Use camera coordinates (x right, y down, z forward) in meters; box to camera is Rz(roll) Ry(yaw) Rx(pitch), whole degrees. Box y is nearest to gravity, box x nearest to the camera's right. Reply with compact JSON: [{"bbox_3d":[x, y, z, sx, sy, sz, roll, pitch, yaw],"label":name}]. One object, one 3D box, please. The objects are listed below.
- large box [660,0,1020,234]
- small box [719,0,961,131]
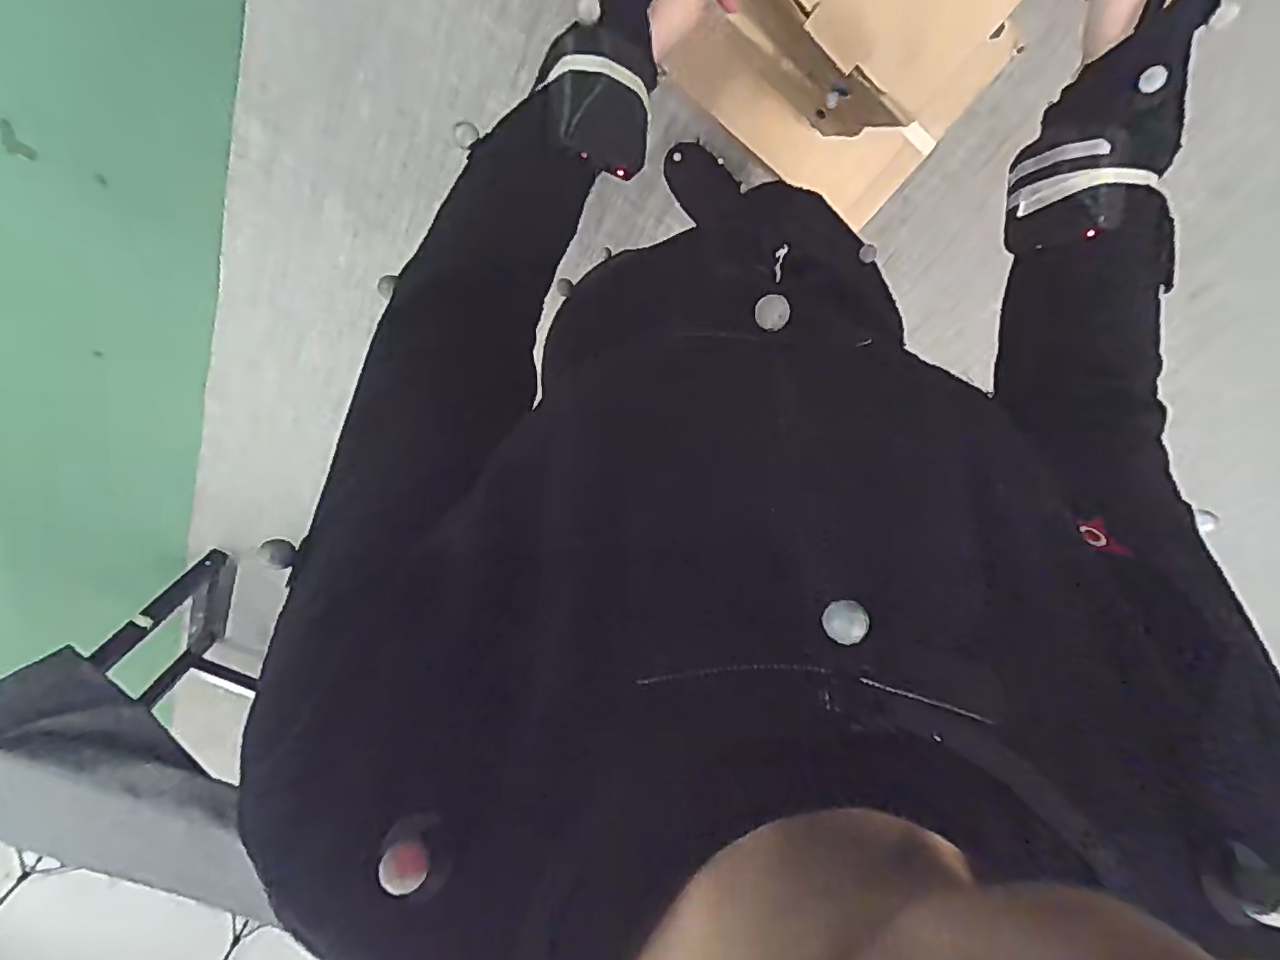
[{"bbox_3d":[0.283,-0.680,0.882,0.408,0.320,0.320,33,121,-16],"label":"large box"},{"bbox_3d":[0.193,-0.478,0.537,0.179,0.176,0.168,31,120,-15],"label":"small box"}]
